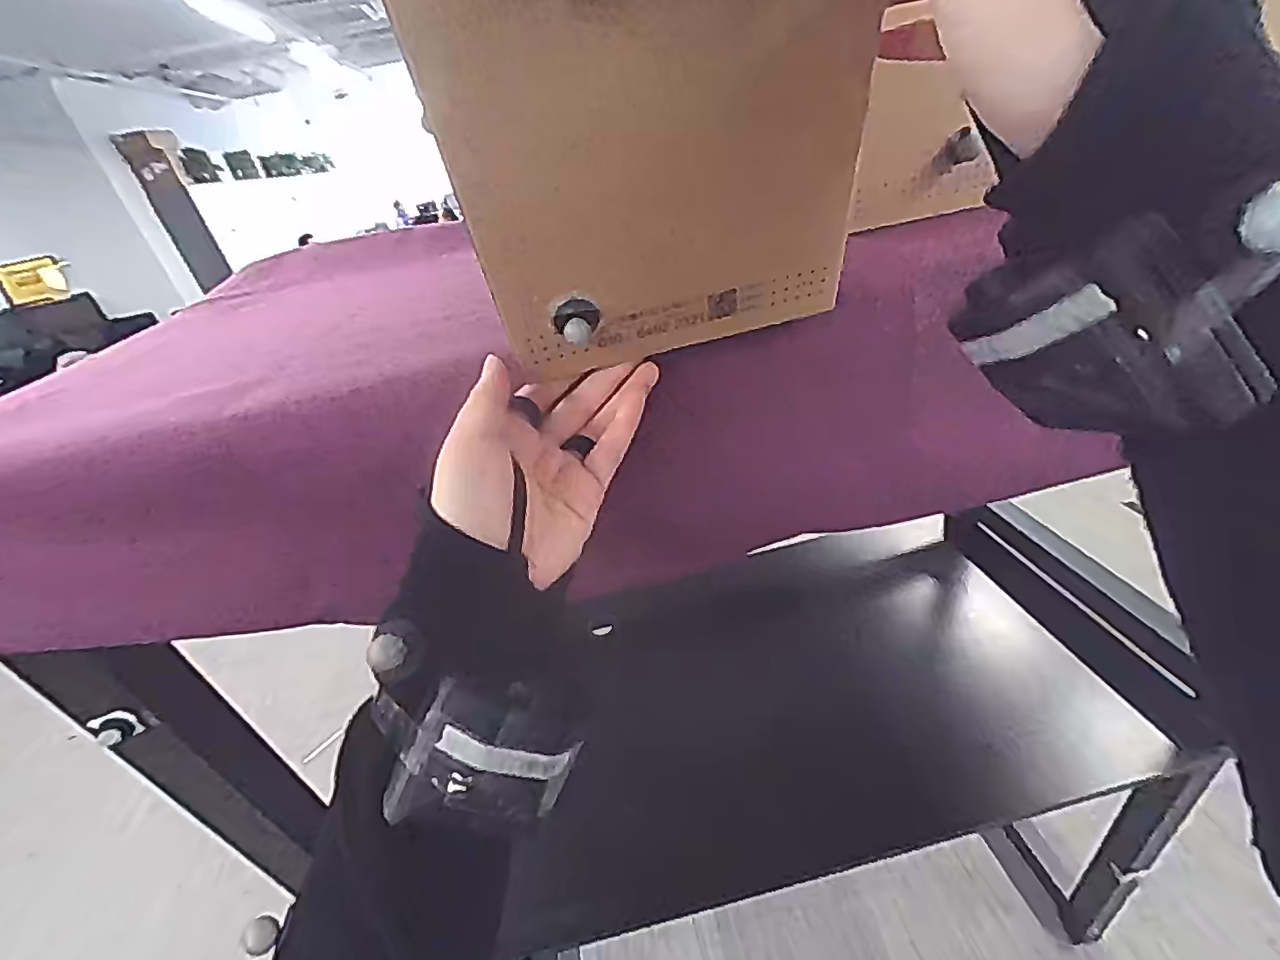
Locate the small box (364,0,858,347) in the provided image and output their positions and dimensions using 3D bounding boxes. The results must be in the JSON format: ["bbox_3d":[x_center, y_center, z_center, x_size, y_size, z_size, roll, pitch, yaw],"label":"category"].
[{"bbox_3d":[-0.011,-0.182,0.259,0.168,0.176,0.179,-14,50,-3],"label":"small box"}]

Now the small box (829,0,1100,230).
[{"bbox_3d":[0.189,-0.296,0.397,0.179,0.176,0.168,-12,32,-1],"label":"small box"}]
